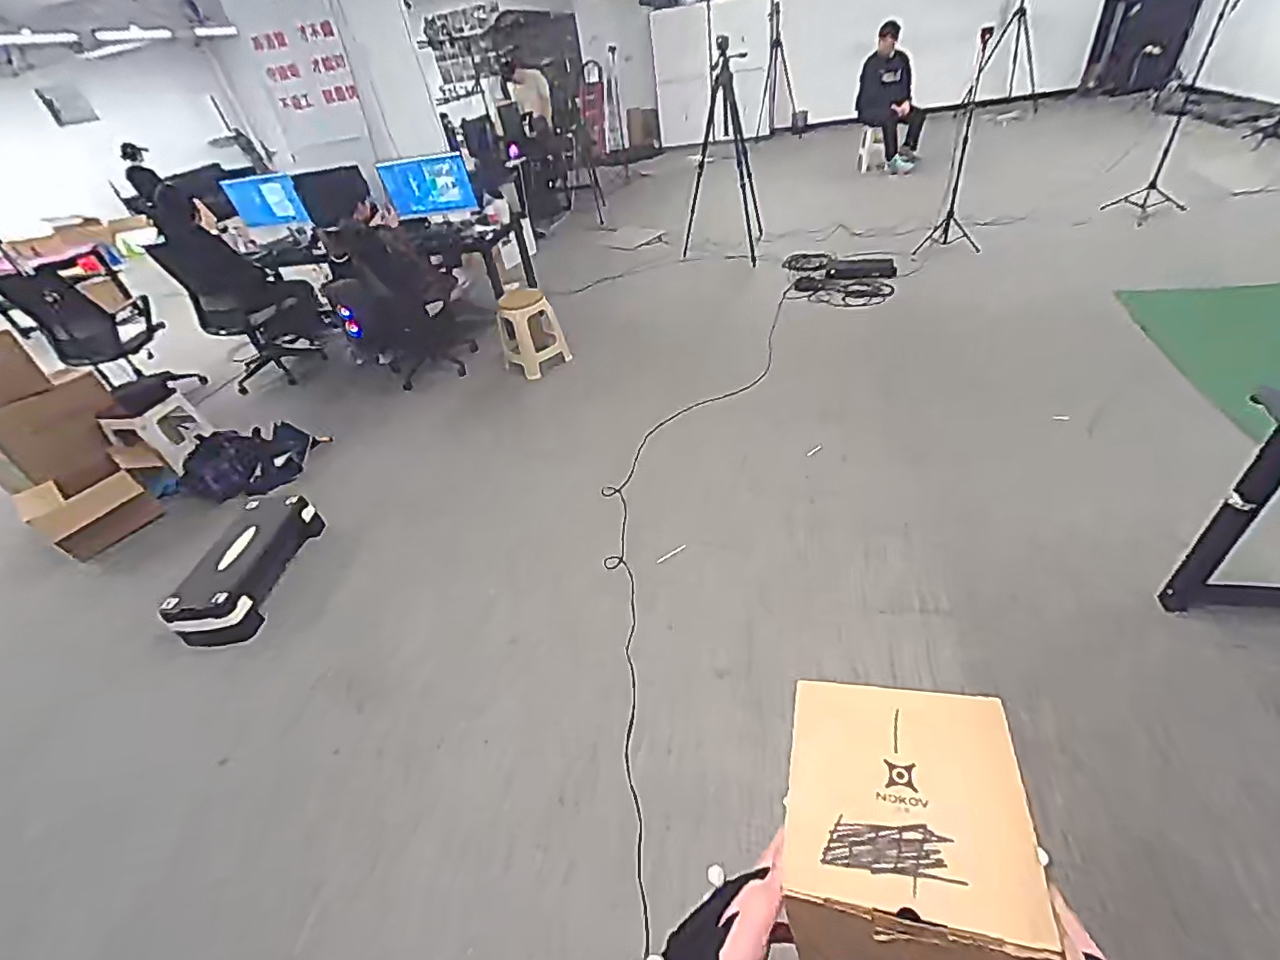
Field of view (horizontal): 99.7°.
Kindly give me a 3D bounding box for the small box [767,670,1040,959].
[{"bbox_3d":[0.210,0.291,0.453,0.168,0.176,0.179,-3,34,23],"label":"small box"}]
